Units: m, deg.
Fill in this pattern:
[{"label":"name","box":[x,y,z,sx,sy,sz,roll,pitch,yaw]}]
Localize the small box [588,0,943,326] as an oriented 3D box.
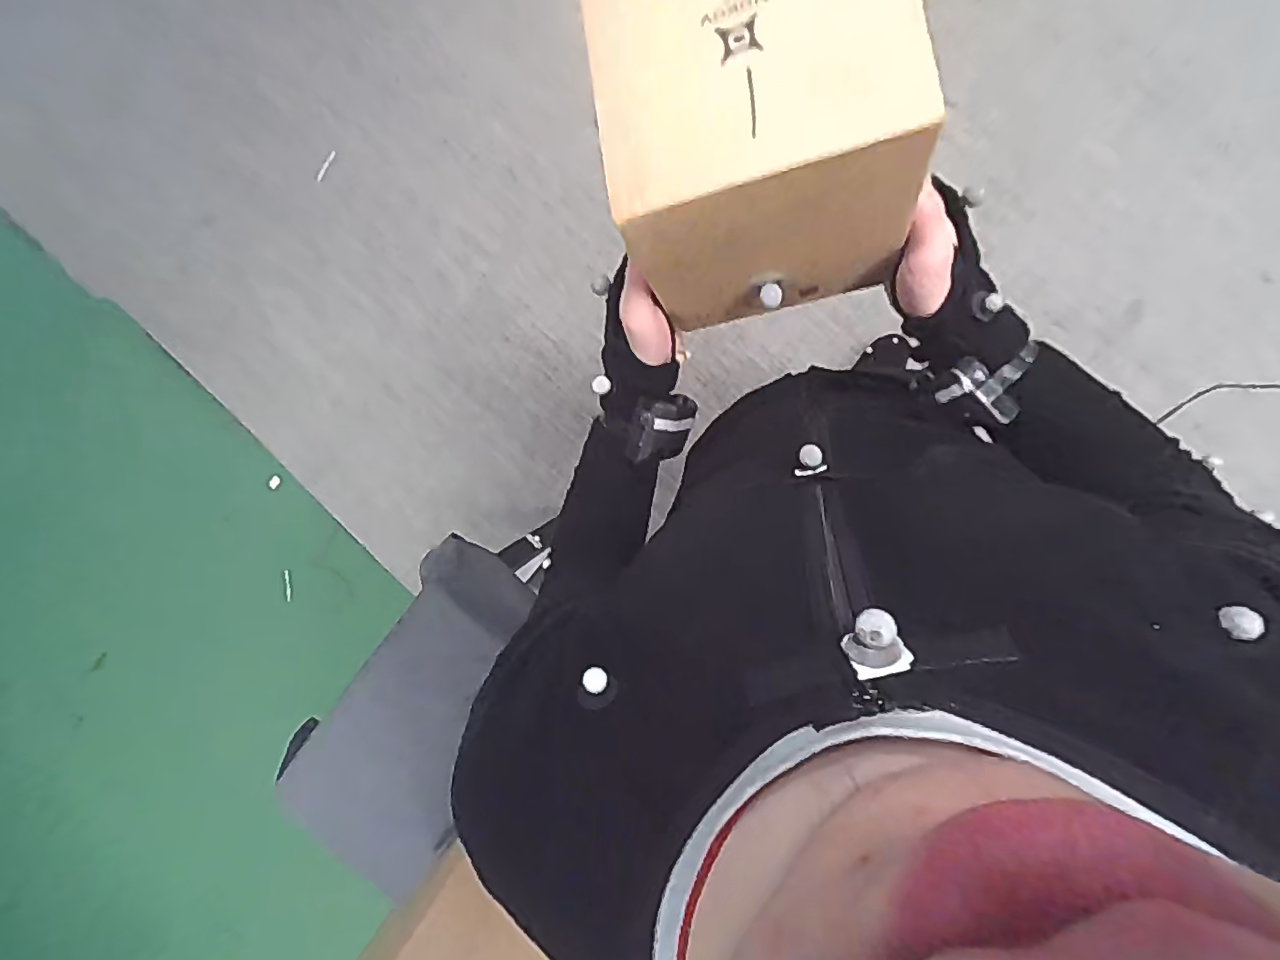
[{"label":"small box","box":[0.075,-0.229,0.357,0.168,0.176,0.179,-10,81,16]}]
